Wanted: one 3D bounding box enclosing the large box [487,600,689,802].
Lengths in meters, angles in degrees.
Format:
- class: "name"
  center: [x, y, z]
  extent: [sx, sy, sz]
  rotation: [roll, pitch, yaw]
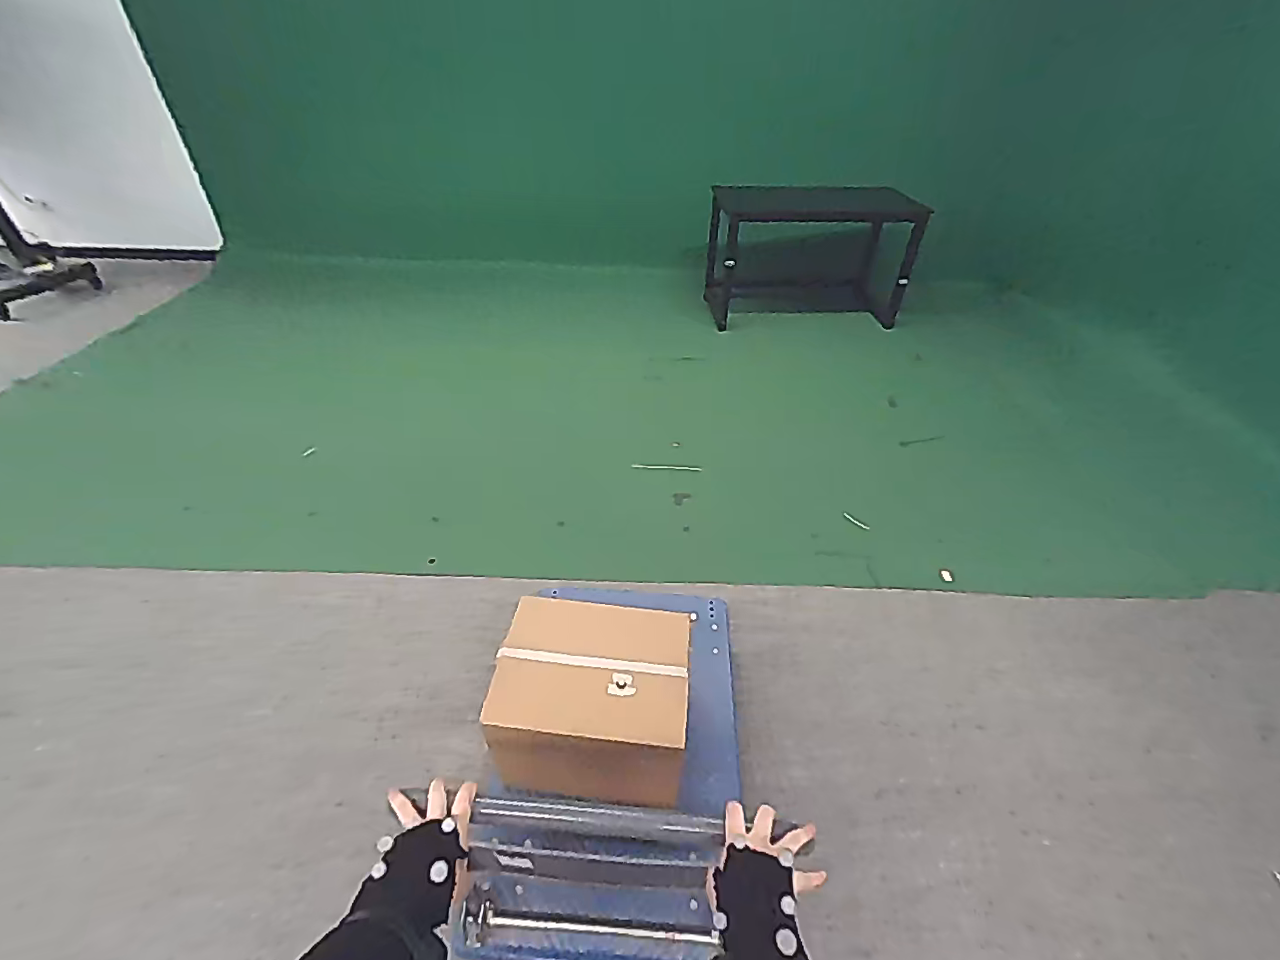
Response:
- class: "large box"
  center: [-0.103, 0.515, 1.267]
  extent: [0.408, 0.320, 0.320]
  rotation: [6, 40, 3]
